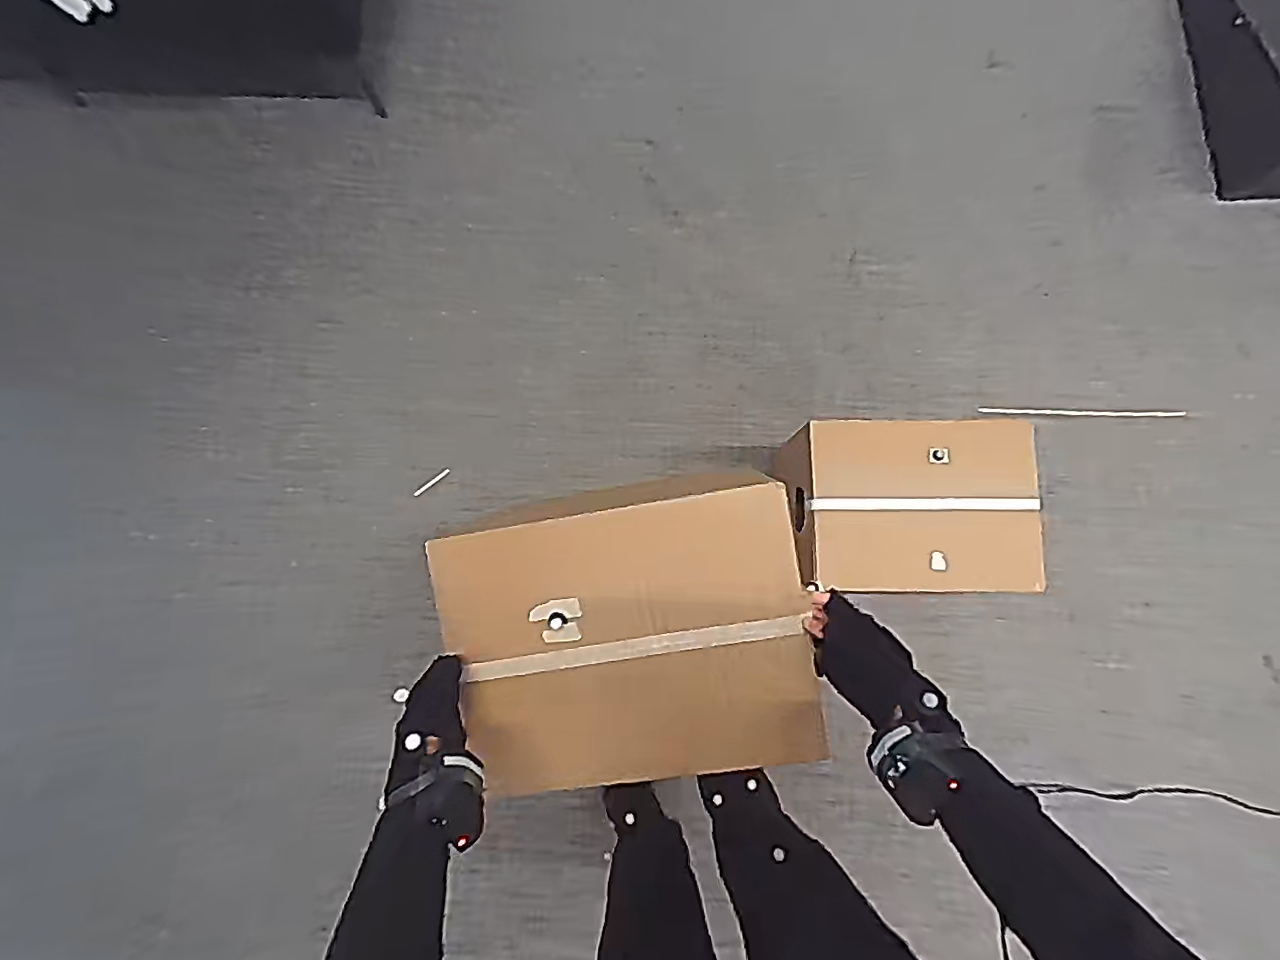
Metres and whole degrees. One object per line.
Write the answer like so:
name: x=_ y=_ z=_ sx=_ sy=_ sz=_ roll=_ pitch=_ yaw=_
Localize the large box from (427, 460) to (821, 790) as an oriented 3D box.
large box: x=-0.006 y=0.166 z=0.749 sx=0.408 sy=0.320 sz=0.320 roll=-10 pitch=93 yaw=7
